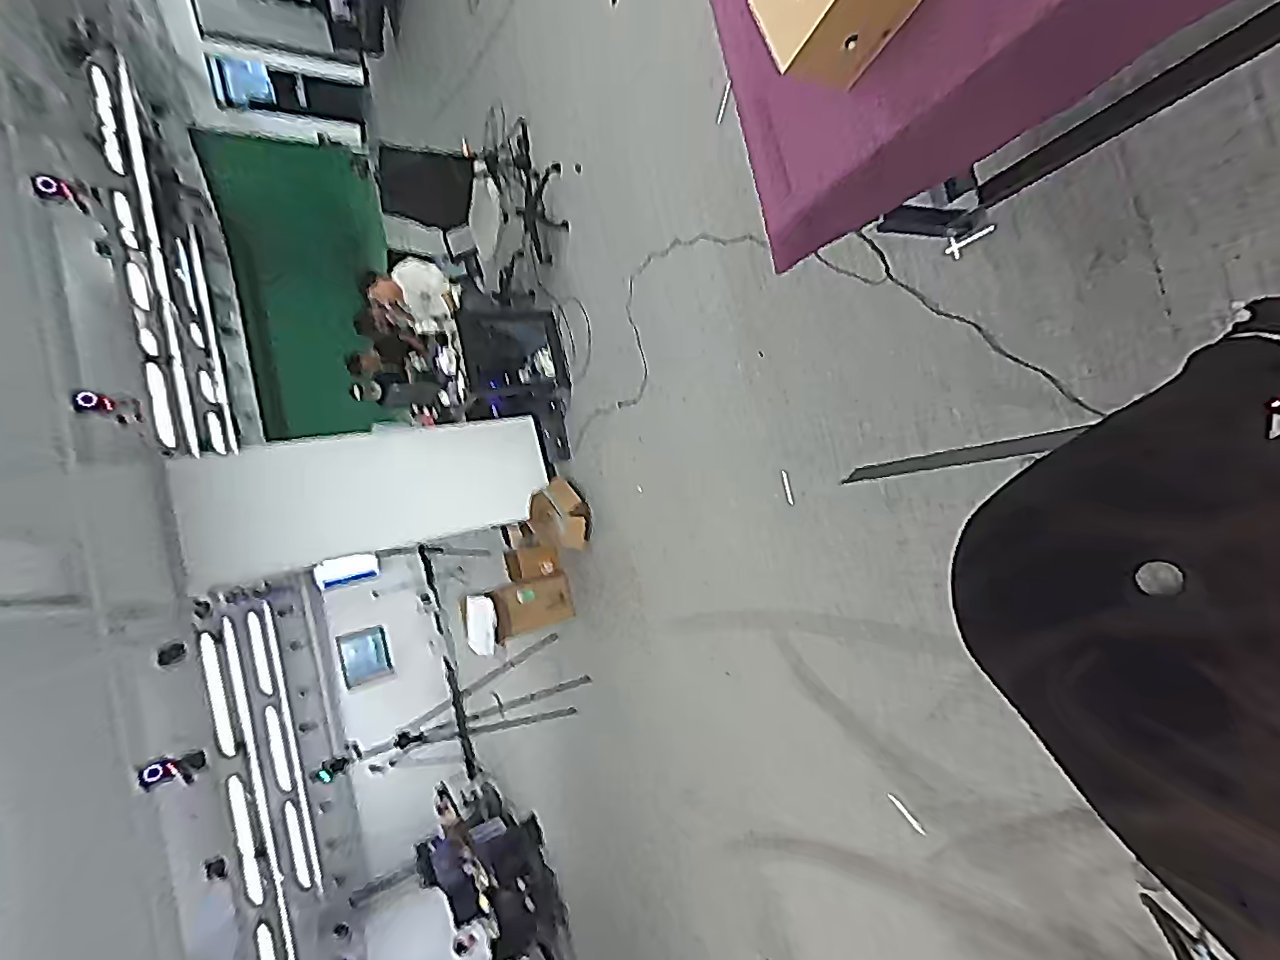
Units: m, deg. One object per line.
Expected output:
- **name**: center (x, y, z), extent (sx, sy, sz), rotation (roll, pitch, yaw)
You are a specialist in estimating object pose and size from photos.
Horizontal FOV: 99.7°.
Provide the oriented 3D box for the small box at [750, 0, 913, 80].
- **small box**: center (0.314, -0.803, 0.890), extent (0.168, 0.176, 0.179), rotation (-34, 71, 58)
